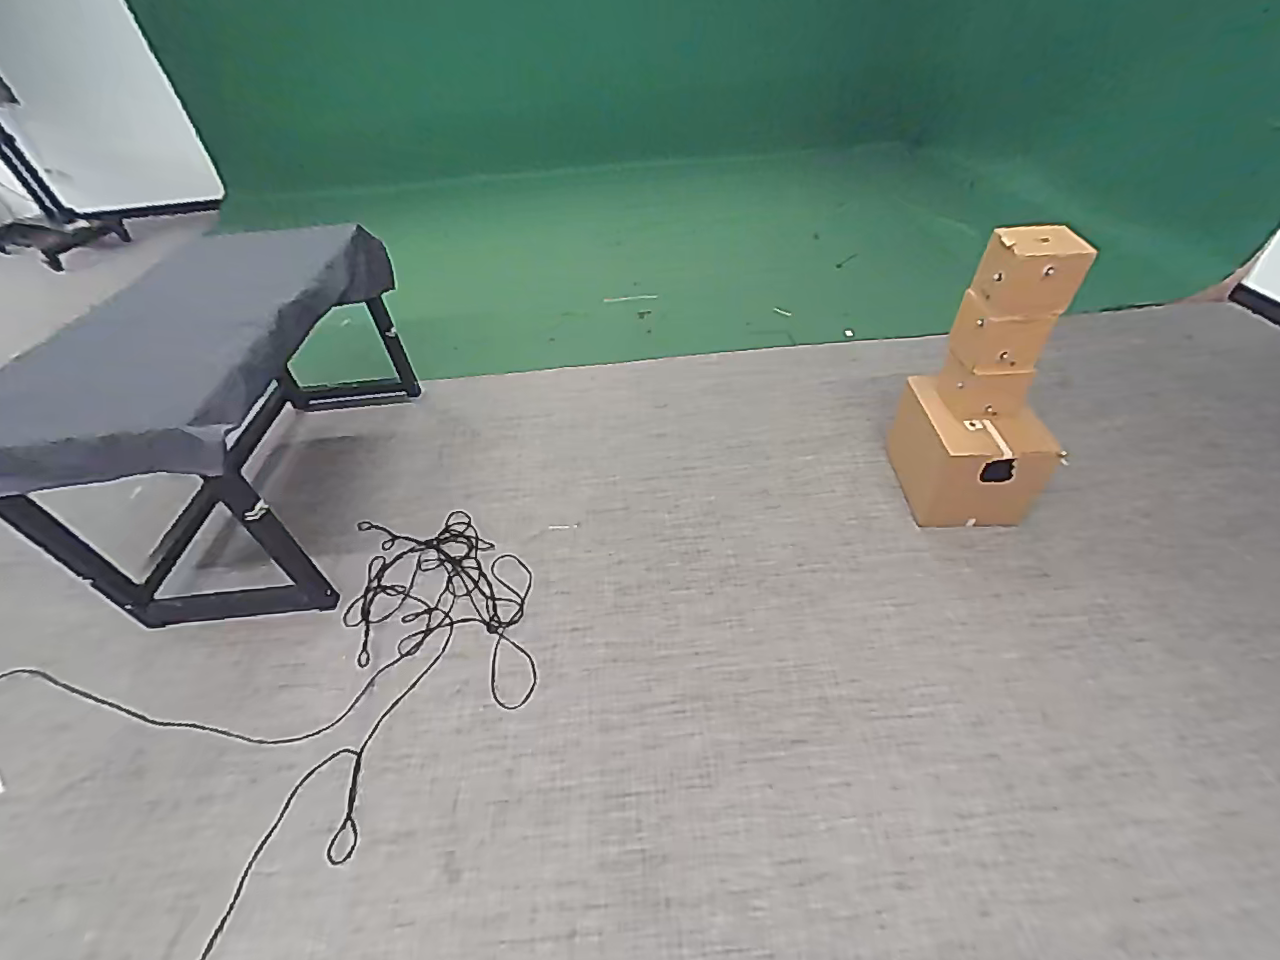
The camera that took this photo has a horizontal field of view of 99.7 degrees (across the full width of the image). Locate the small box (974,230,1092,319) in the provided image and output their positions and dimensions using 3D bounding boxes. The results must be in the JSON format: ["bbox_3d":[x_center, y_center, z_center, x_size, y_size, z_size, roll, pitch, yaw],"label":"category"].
[{"bbox_3d":[1.000,-0.529,1.402,0.179,0.176,0.168,0,46,4],"label":"small box"}]

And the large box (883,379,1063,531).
[{"bbox_3d":[1.042,-0.086,1.761,0.320,0.320,0.408,-2,45,4],"label":"large box"}]

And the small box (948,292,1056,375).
[{"bbox_3d":[0.999,-0.413,1.516,0.168,0.176,0.179,-3,45,2],"label":"small box"}]
